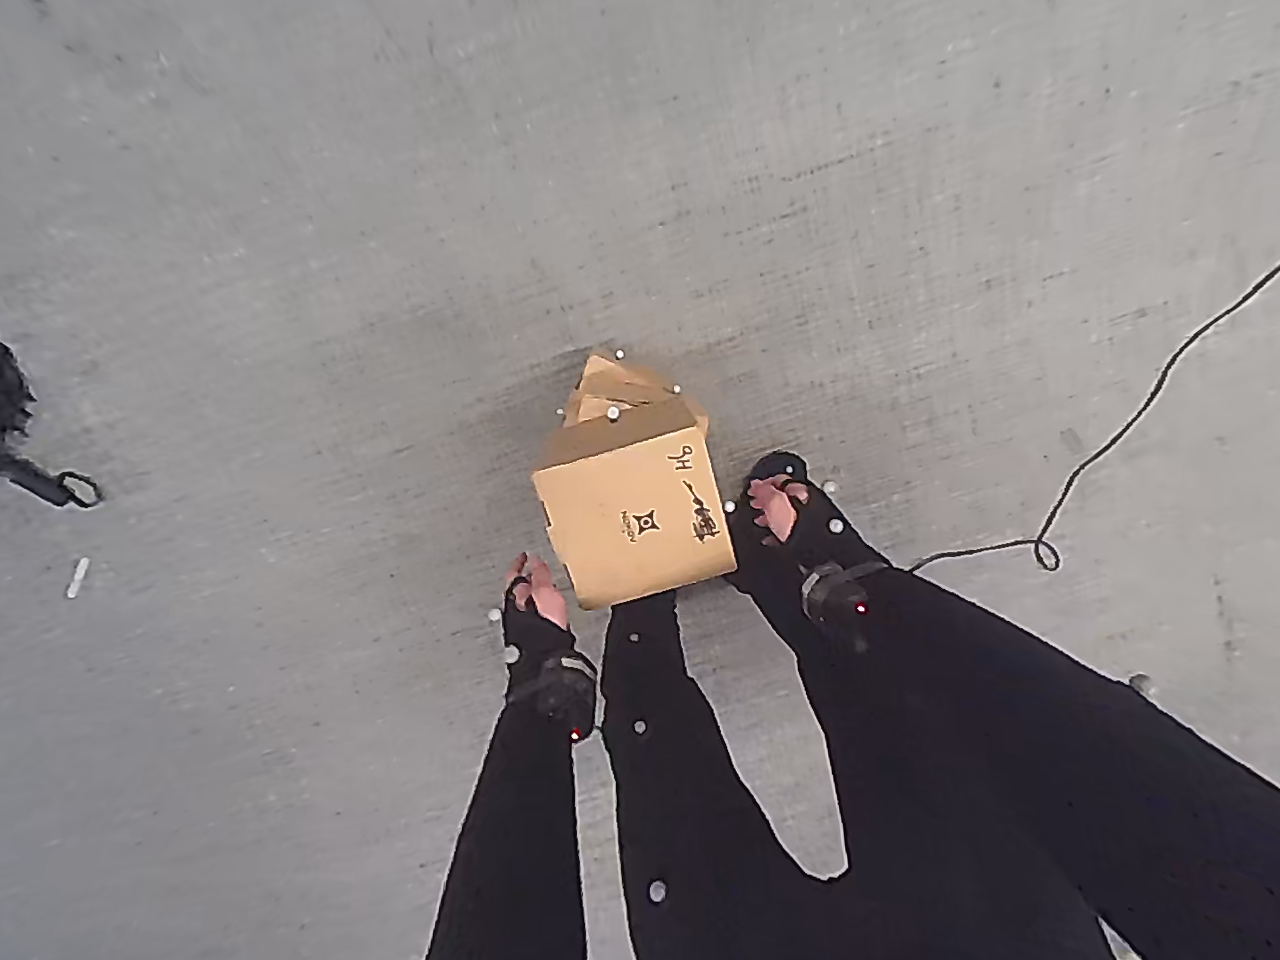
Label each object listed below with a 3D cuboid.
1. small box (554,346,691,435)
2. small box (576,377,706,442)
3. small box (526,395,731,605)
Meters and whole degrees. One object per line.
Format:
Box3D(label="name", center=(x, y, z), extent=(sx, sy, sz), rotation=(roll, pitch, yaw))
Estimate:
Box3D(label="small box", center=(-0.034, -0.118, 0.922), extent=(0.179, 0.176, 0.168), rotation=(22, 107, -10))
Box3D(label="small box", center=(-0.015, -0.041, 0.775), extent=(0.168, 0.176, 0.179), rotation=(10, 109, -5))
Box3D(label="small box", center=(-0.008, 0.014, 0.621), extent=(0.179, 0.176, 0.168), rotation=(-15, 109, 5))
